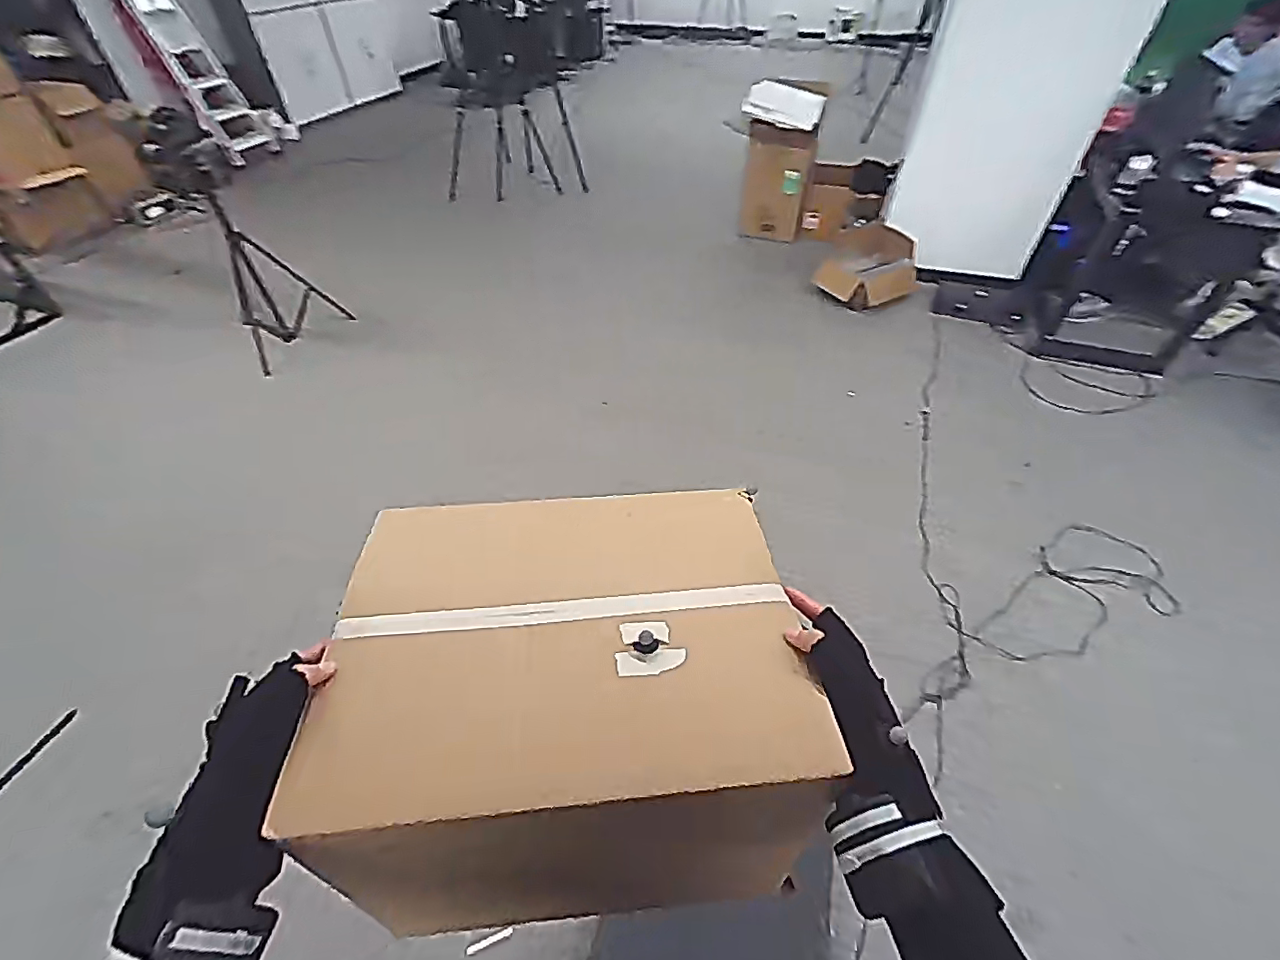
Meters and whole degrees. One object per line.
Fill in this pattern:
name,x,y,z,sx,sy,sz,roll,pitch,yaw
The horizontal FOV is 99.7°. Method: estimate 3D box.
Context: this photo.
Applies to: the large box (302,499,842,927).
large box,-0.059,0.244,0.599,0.408,0.320,0.320,-3,40,-4
